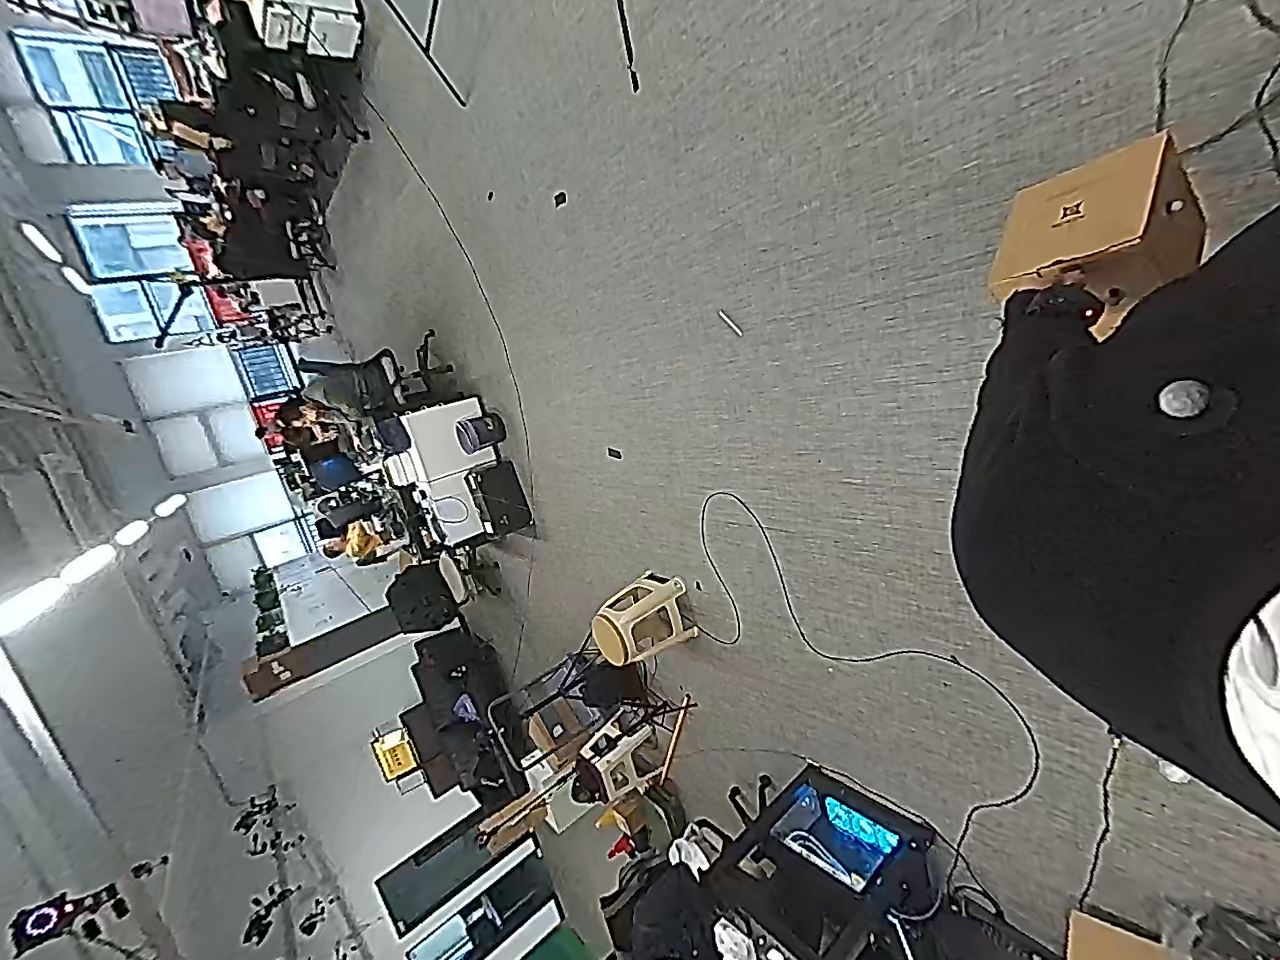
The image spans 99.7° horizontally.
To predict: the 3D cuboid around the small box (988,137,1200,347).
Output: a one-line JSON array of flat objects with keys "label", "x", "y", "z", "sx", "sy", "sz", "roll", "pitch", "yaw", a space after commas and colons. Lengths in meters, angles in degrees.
[{"label": "small box", "x": 0.617, "y": -0.302, "z": 0.735, "sx": 0.176, "sy": 0.179, "sz": 0.168, "roll": 34, "pitch": 163, "yaw": -26}]
